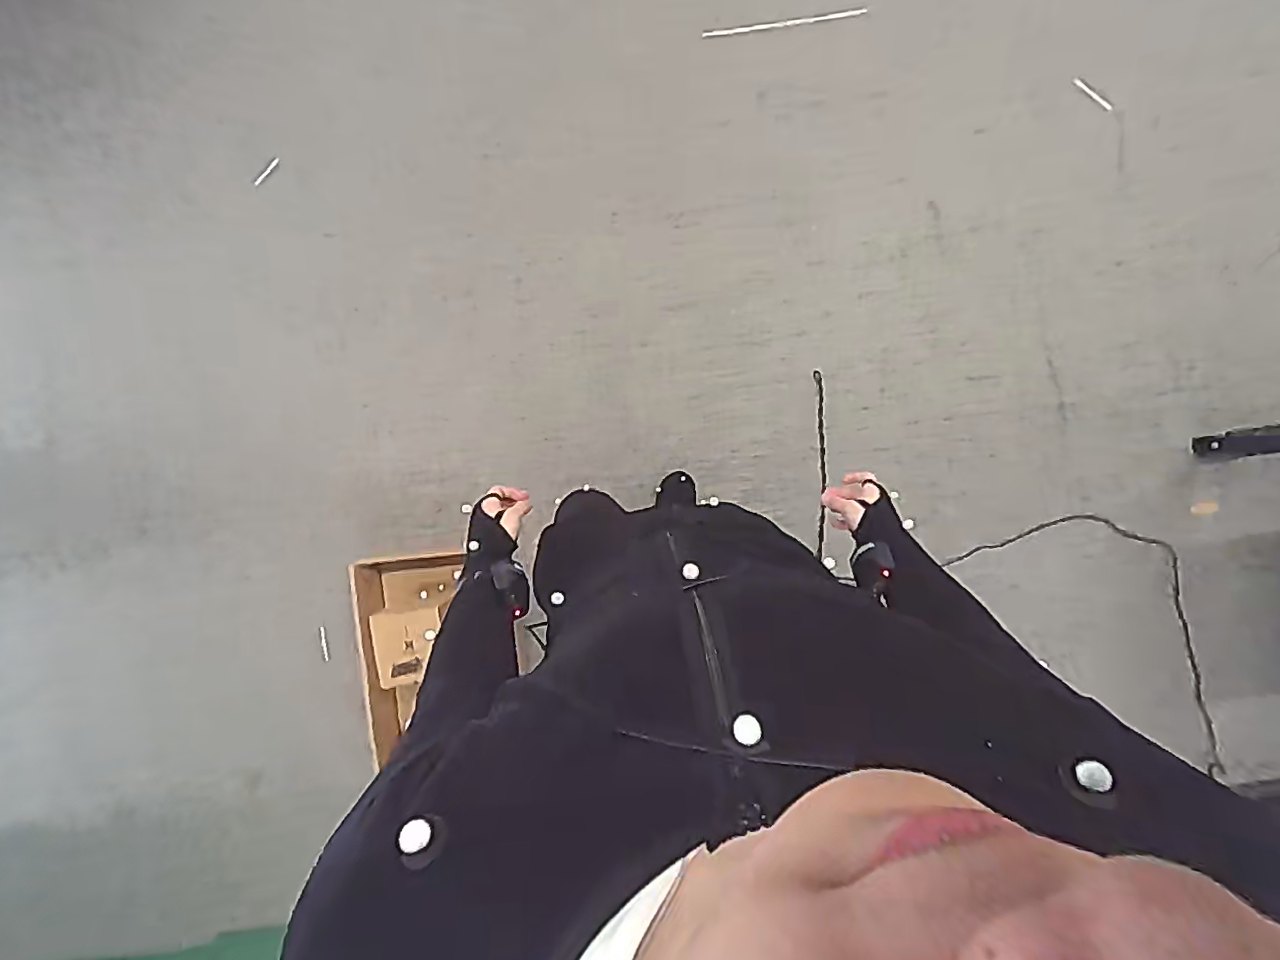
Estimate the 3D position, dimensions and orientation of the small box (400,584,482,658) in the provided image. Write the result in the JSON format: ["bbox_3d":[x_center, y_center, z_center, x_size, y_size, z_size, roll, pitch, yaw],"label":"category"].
[{"bbox_3d":[-0.545,0.389,1.498,0.179,0.176,0.168,-4,93,0],"label":"small box"}]

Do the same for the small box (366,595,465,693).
[{"bbox_3d":[-0.544,0.398,1.332,0.168,0.176,0.179,-8,92,0],"label":"small box"}]
